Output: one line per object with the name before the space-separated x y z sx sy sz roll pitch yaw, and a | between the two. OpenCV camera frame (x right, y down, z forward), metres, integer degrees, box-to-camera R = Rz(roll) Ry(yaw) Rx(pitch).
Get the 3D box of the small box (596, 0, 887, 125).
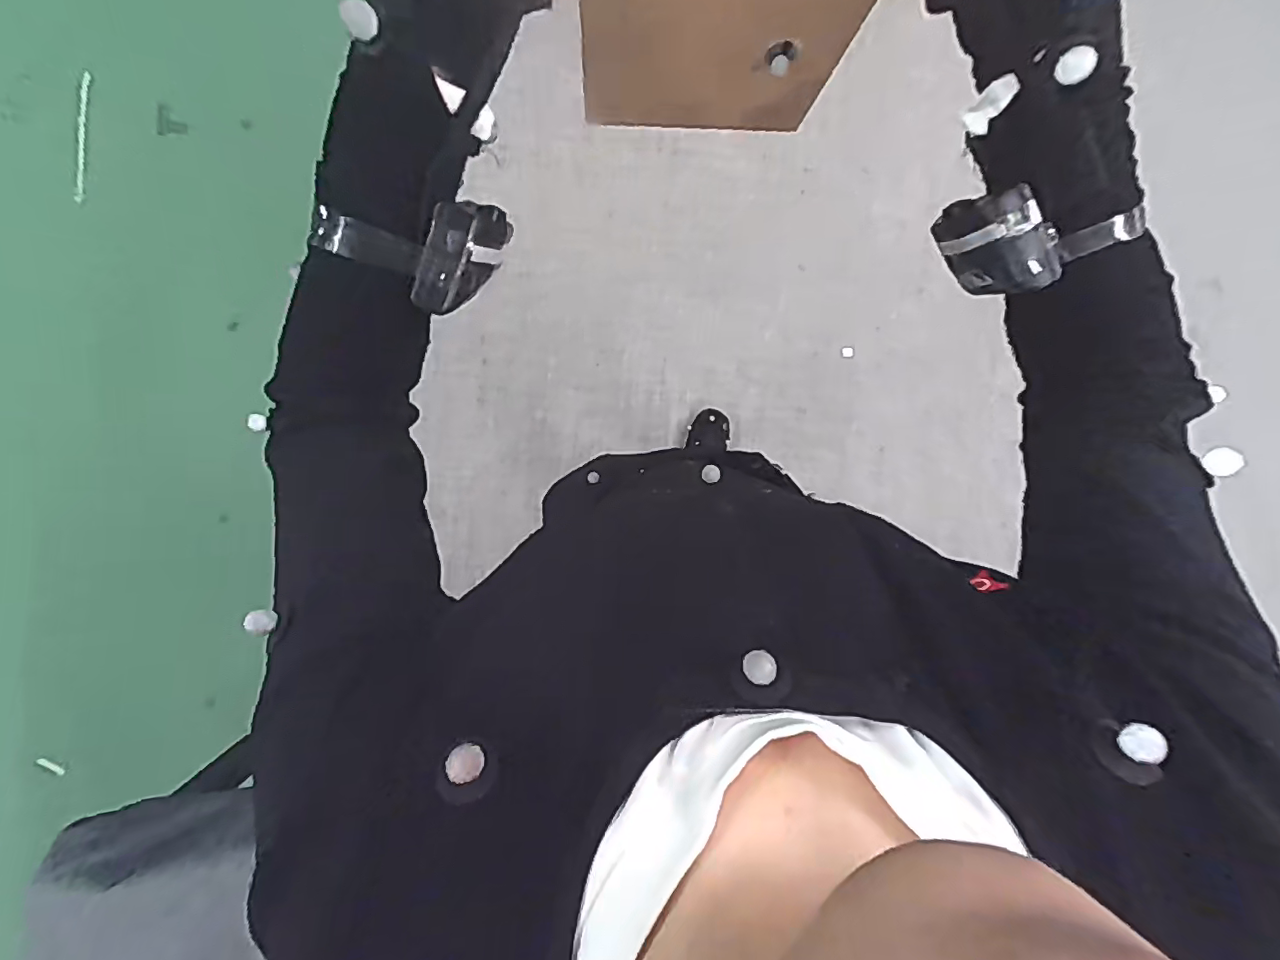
small box | 0.059 -0.366 0.355 0.179 0.176 0.168 -1 92 -4
